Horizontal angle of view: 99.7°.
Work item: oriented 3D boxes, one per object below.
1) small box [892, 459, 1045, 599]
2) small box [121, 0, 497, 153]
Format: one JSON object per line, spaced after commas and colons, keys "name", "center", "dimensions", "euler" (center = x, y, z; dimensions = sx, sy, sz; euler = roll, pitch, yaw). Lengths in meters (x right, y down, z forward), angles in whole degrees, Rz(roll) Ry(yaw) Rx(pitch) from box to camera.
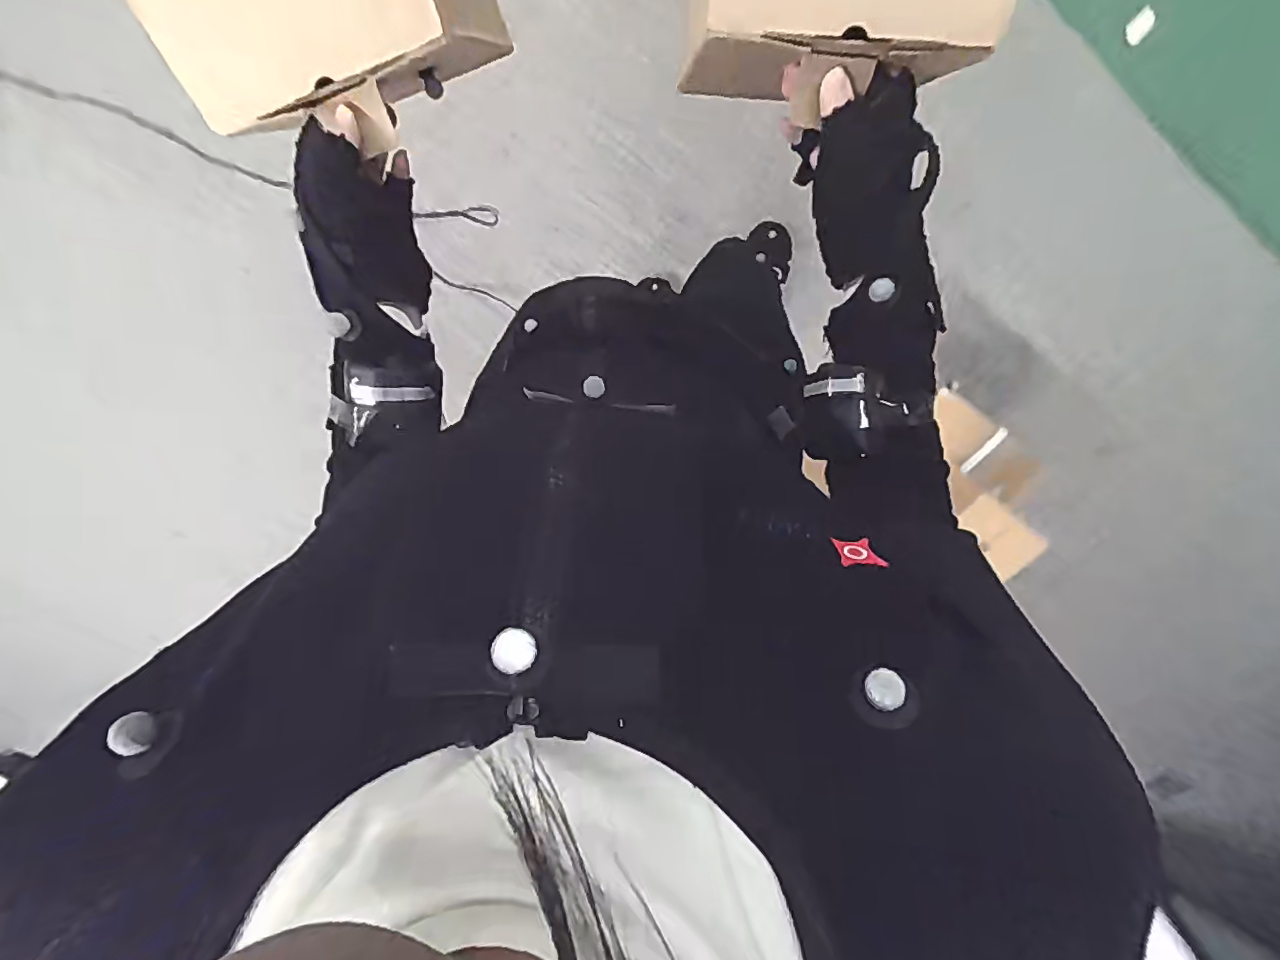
{"name": "small box", "center": [0.626, 0.091, 1.063], "dimensions": [0.168, 0.176, 0.179], "euler": [35, 115, -5]}
{"name": "small box", "center": [-0.216, -0.344, 0.349], "dimensions": [0.168, 0.176, 0.179], "euler": [-15, 124, 13]}
